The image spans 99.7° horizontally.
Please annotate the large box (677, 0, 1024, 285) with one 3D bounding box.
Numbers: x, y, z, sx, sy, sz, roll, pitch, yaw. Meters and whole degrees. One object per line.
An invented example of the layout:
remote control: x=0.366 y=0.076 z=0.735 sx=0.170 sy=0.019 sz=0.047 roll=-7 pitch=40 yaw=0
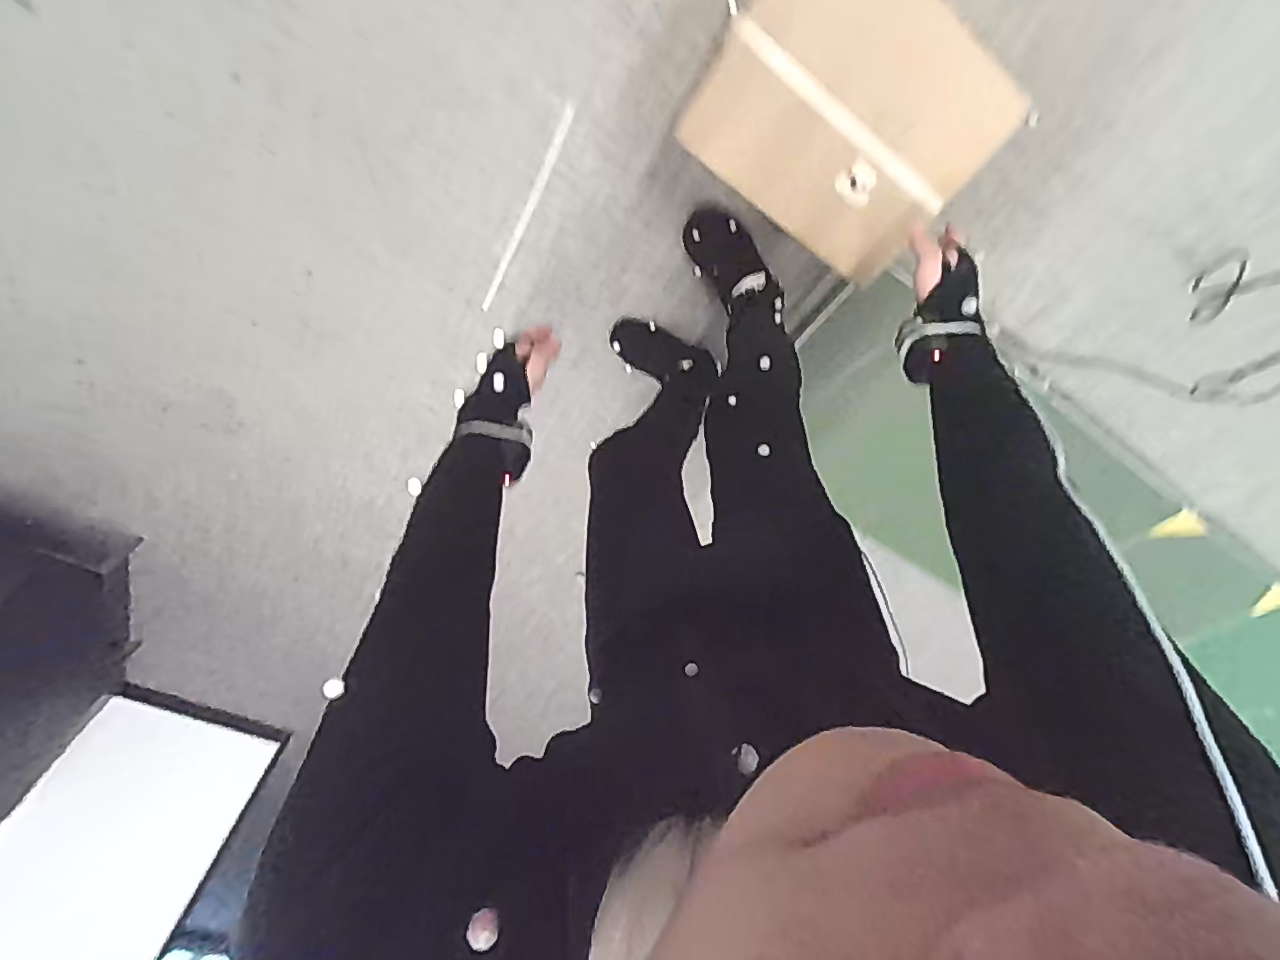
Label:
large box: x=0.309 y=-0.613 z=0.909 sx=0.408 sy=0.320 sz=0.320 roll=29 pitch=126 yaw=-18
